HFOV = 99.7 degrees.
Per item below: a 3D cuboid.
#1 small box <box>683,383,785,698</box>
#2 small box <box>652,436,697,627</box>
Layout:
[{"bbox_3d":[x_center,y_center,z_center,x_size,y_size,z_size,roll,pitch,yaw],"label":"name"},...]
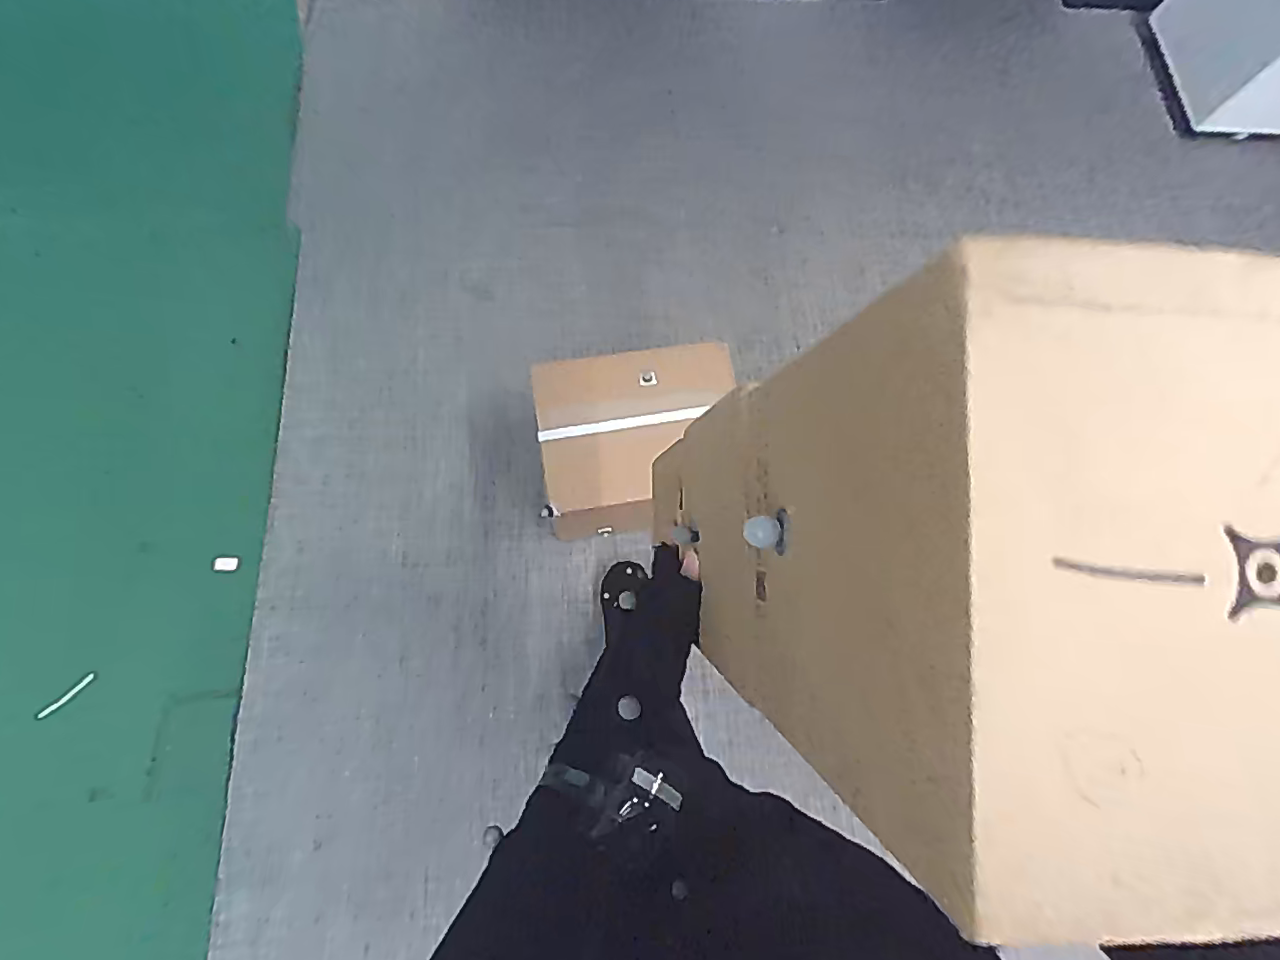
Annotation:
[{"bbox_3d":[0.127,0.035,0.385,0.168,0.176,0.179,-1,87,-7],"label":"small box"},{"bbox_3d":[0.108,0.050,0.546,0.179,0.176,0.168,0,86,-8],"label":"small box"}]
